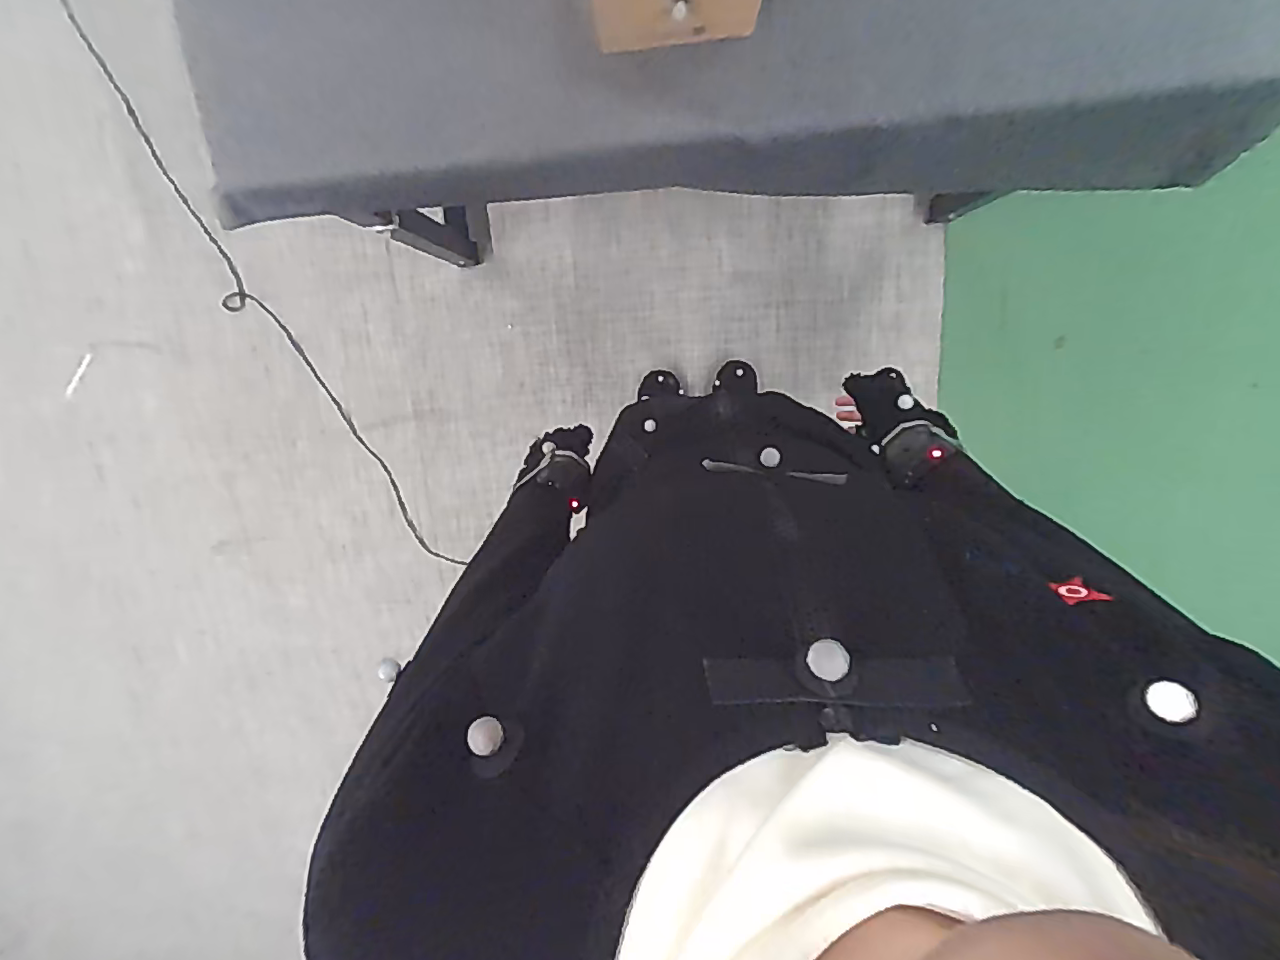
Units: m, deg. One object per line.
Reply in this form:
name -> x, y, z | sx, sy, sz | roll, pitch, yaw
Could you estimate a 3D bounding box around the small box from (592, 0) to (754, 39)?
small box -> 0.027, -0.536, 0.484 | 0.168, 0.176, 0.179 | -5, 104, 3
